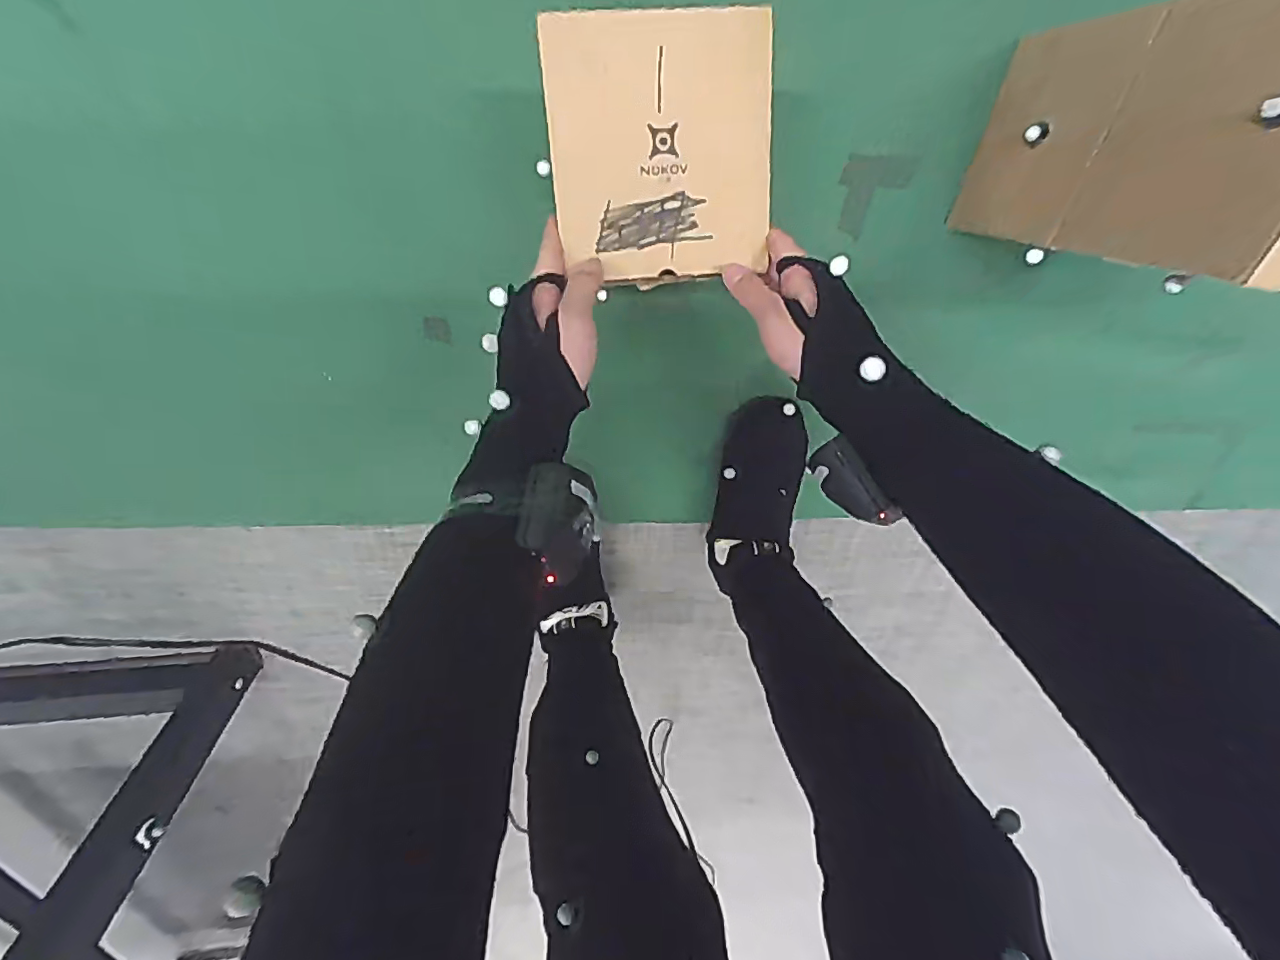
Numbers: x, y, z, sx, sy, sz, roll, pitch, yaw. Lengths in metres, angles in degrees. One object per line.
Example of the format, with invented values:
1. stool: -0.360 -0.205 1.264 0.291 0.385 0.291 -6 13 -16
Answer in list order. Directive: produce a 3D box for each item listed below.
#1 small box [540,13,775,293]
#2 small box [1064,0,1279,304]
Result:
1. small box: 0.010 -0.261 0.472 0.168 0.176 0.179 -5 109 -4
2. small box: 0.469 -0.229 0.390 0.168 0.176 0.179 6 121 -10
